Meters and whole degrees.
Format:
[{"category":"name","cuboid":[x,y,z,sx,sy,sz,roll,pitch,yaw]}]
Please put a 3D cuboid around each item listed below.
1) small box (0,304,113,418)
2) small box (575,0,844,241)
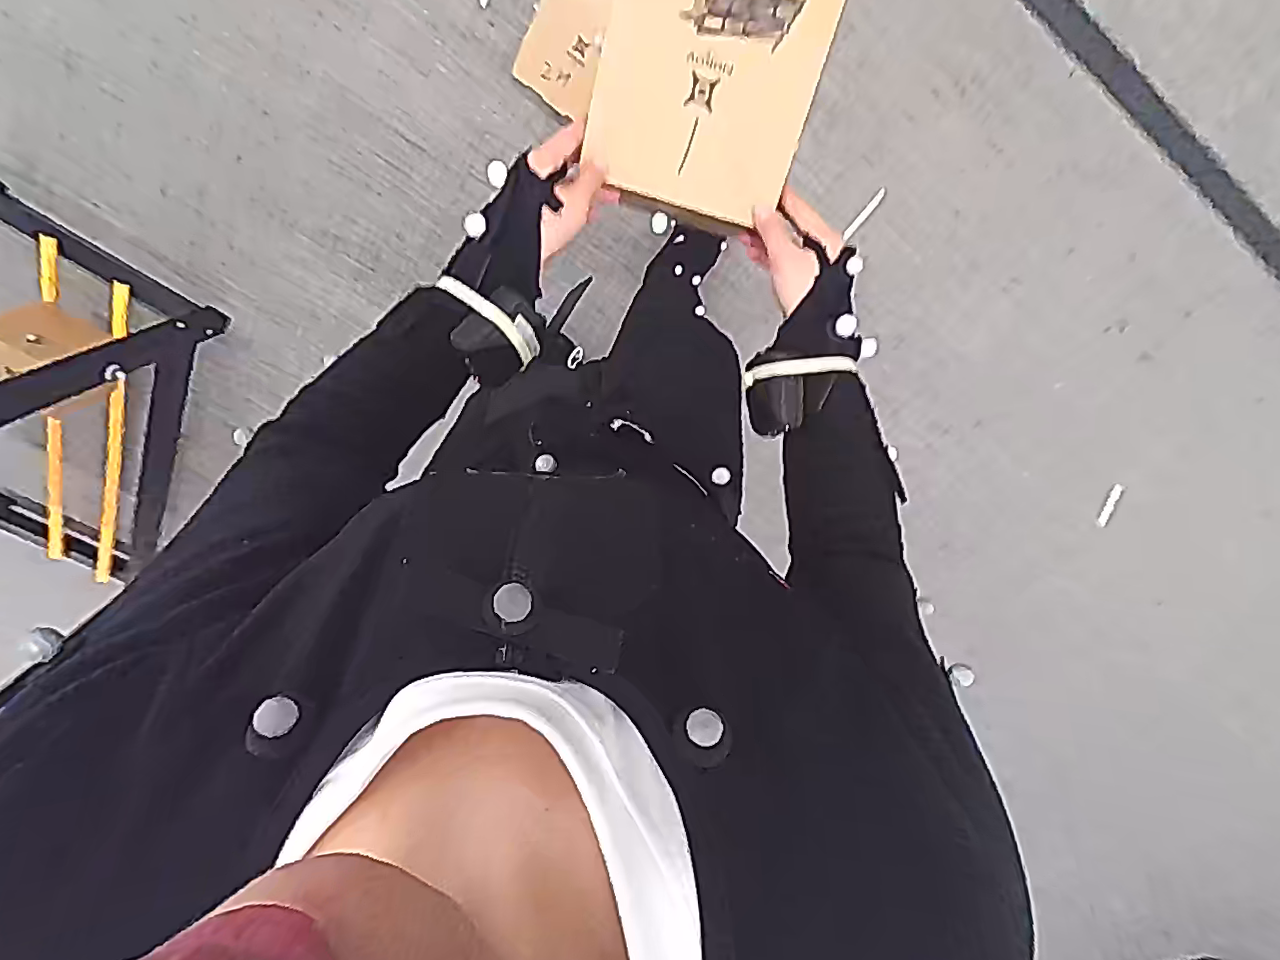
[{"category":"small box","cuboid":[-1.382,-0.281,1.242,0.179,0.176,0.168,32,122,-15]},{"category":"small box","cuboid":[0.048,-0.327,0.479,0.168,0.176,0.179,14,111,-5]}]
